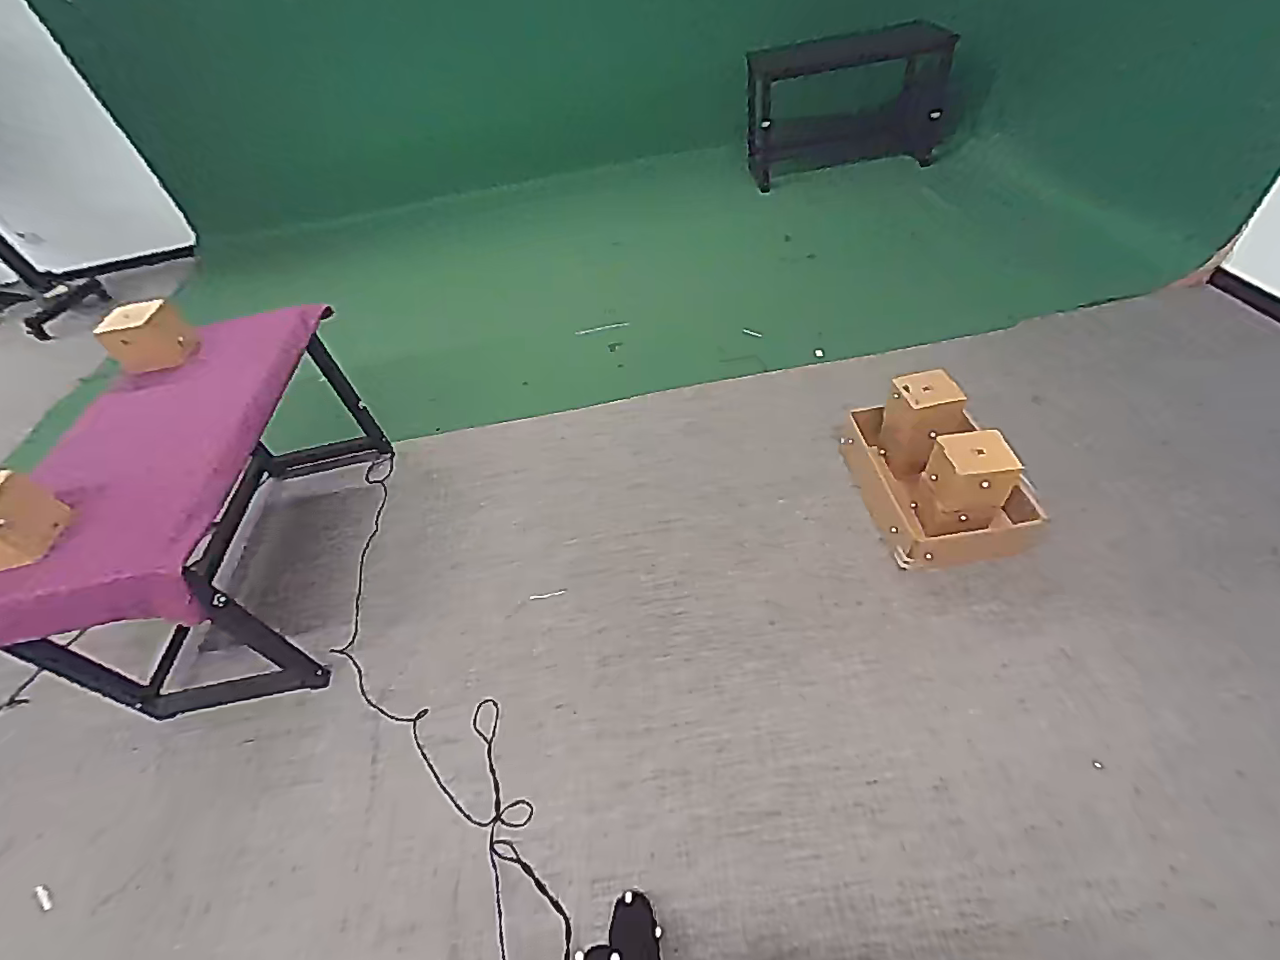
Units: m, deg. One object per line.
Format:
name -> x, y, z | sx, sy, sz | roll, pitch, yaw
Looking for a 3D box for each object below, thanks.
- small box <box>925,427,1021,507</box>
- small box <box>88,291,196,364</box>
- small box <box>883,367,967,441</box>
small box -> 0.993, -0.036, 1.629 | 0.179, 0.176, 0.168 | -7, 48, 6
small box -> -1.694, -0.518, 1.850 | 0.179, 0.176, 0.168 | -9, 50, 1
small box -> 0.956, -0.256, 1.830 | 0.179, 0.176, 0.168 | -10, 47, 0
